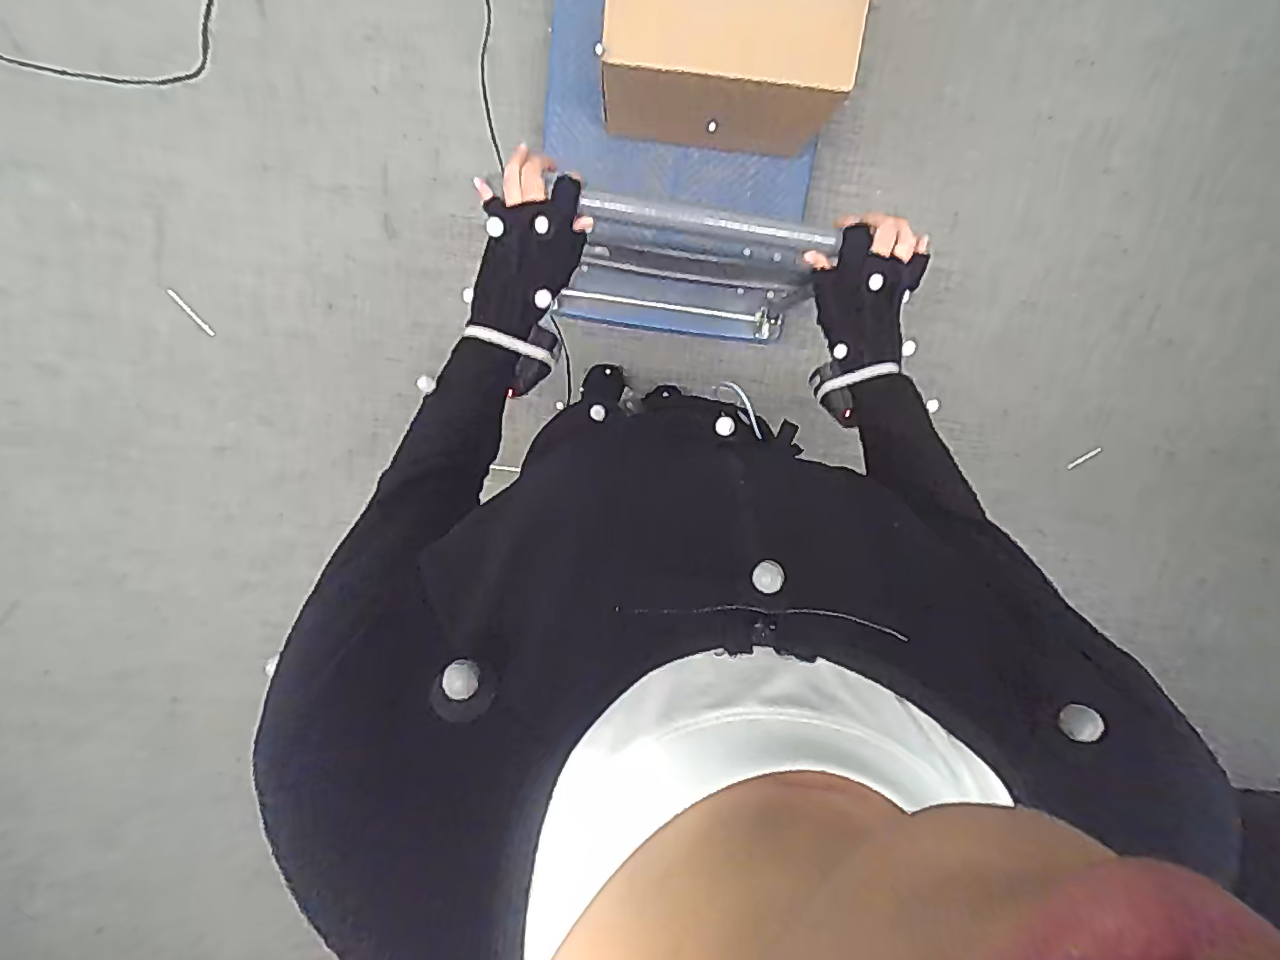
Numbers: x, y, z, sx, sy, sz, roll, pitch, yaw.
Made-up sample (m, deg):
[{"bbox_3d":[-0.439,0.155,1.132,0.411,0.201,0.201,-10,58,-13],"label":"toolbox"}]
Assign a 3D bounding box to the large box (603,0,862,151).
[{"bbox_3d":[0.150,-0.825,0.971,0.408,0.320,0.320,5,102,-2],"label":"large box"}]
